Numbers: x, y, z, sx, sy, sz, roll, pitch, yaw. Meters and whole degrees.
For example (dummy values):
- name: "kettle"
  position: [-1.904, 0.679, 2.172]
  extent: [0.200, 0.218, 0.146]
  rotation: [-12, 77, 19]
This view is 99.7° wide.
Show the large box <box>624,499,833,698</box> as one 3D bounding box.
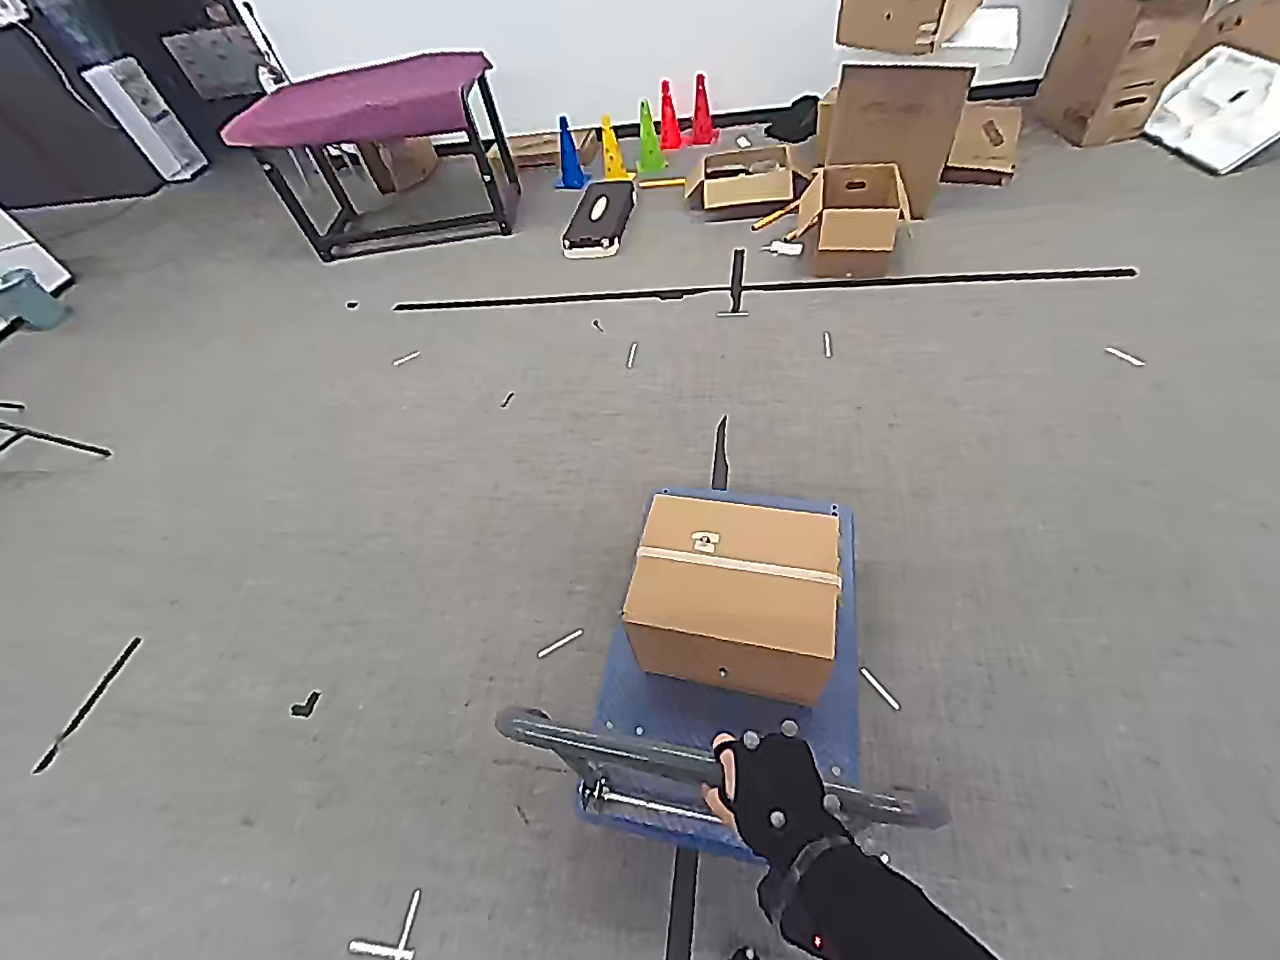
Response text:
- name: "large box"
  position: [0.214, 0.271, 1.237]
  extent: [0.408, 0.320, 0.320]
  rotation: [6, 53, 15]
